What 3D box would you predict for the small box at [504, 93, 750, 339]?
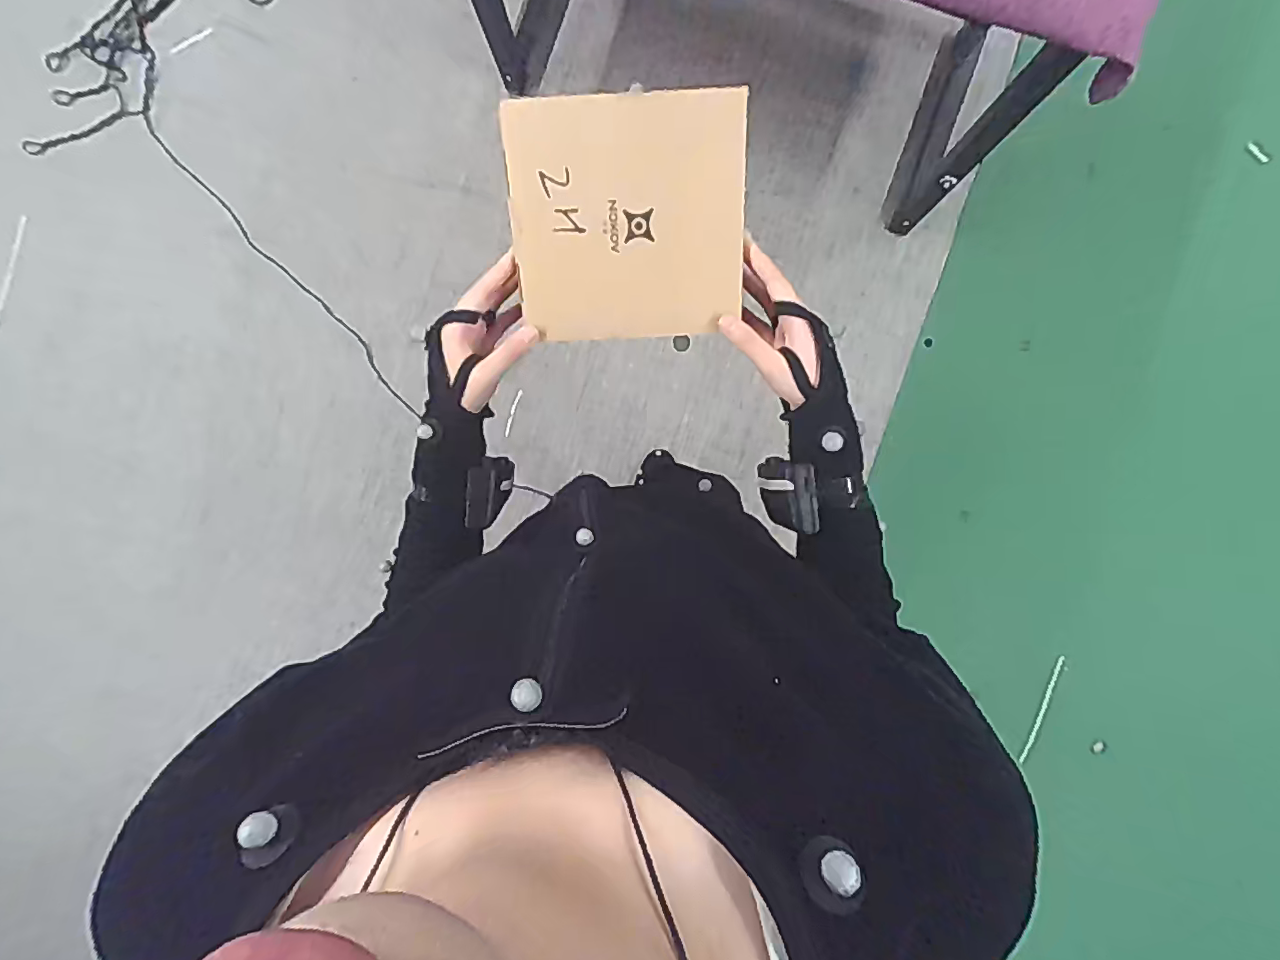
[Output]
[{"bbox_3d":[-0.008,-0.222,0.480,0.179,0.176,0.168,-2,111,1],"label":"small box"}]
